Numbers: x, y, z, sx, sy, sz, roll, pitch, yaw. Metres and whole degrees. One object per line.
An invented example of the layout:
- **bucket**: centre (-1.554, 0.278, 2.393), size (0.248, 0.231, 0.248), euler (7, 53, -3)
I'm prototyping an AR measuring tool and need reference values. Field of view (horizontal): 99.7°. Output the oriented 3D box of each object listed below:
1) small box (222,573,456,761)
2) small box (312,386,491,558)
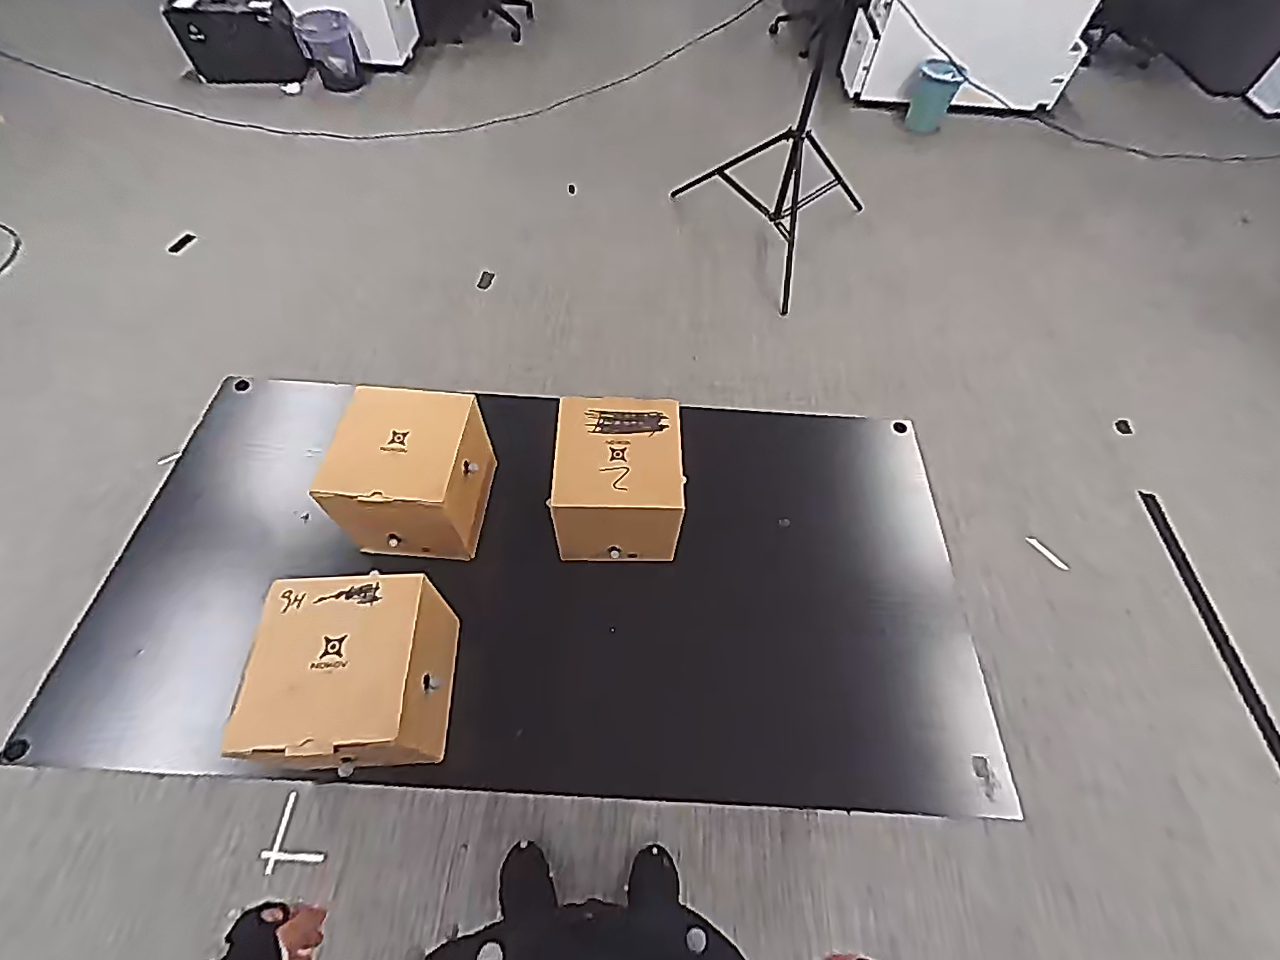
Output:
- **small box**: centre (-0.321, 0.221, 0.624), size (0.168, 0.176, 0.179), euler (-2, 58, -4)
- **small box**: centre (-0.319, -0.007, 0.770), size (0.168, 0.176, 0.179), euler (4, 58, 0)
